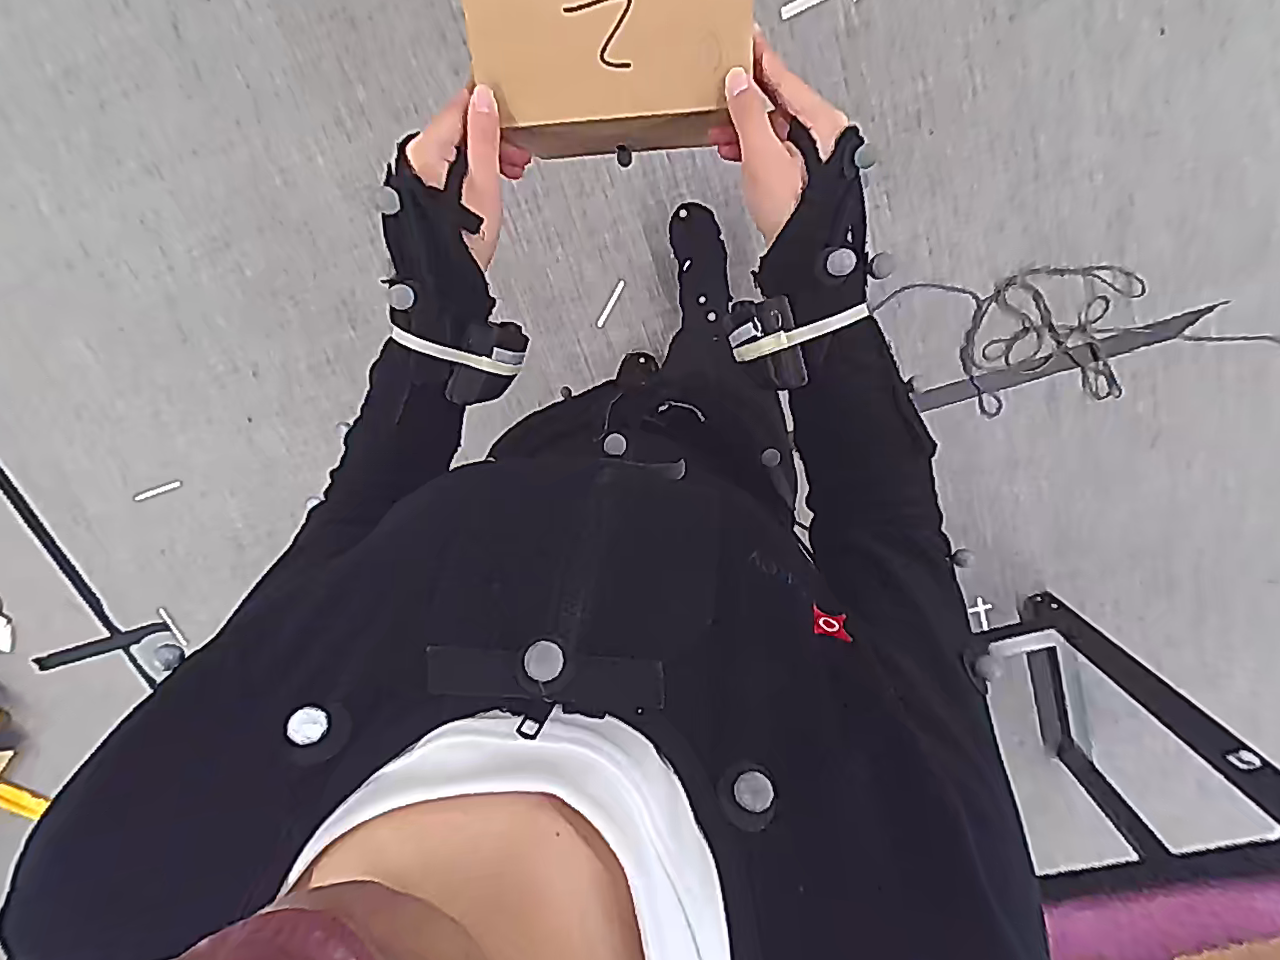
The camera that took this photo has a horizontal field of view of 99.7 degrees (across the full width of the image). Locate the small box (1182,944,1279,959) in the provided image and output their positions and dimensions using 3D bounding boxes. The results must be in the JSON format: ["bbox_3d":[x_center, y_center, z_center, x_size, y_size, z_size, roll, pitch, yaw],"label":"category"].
[{"bbox_3d":[0.897,0.777,0.736,0.168,0.176,0.179,-24,106,11],"label":"small box"}]
